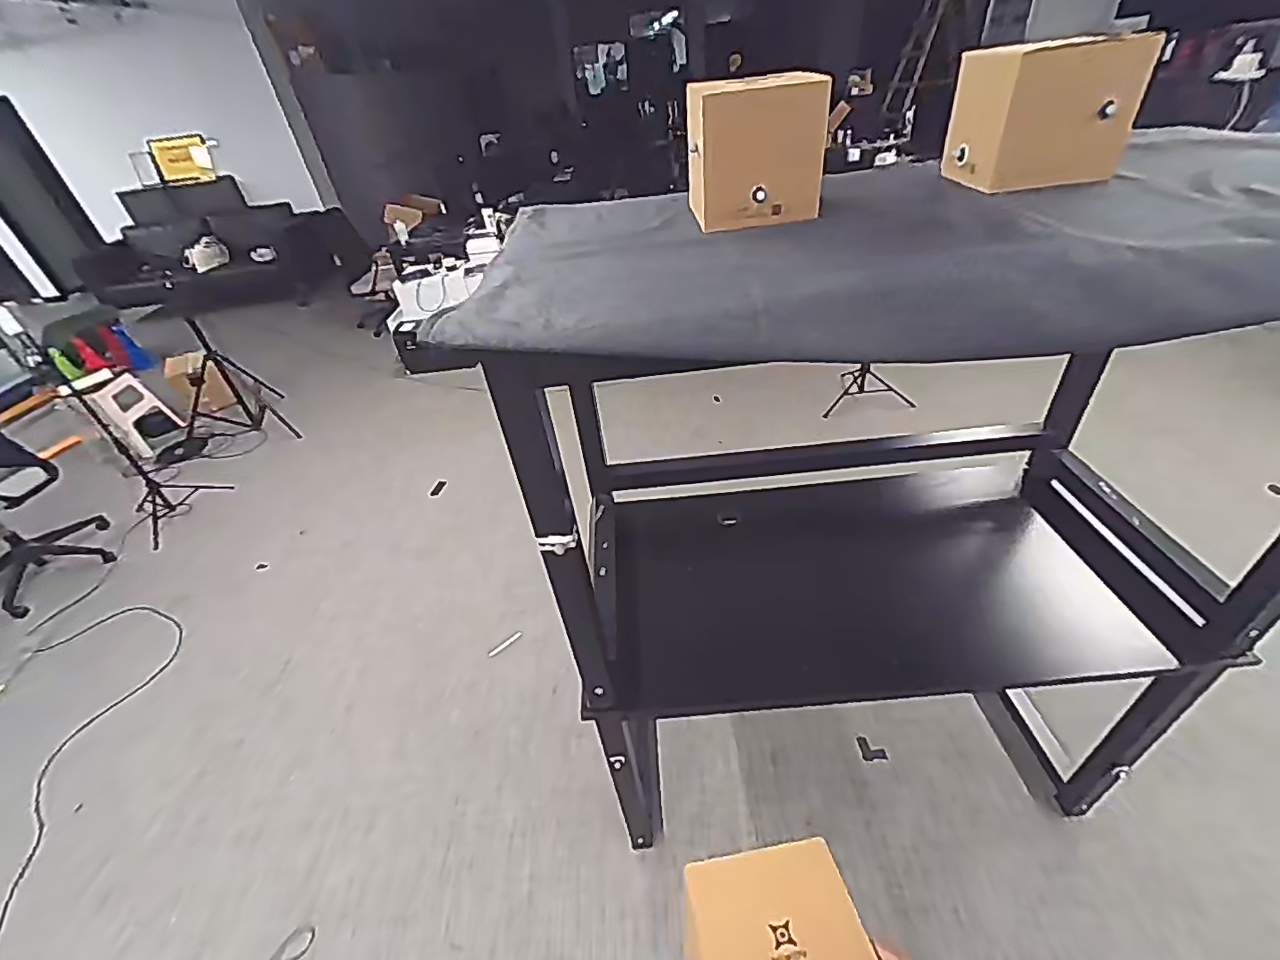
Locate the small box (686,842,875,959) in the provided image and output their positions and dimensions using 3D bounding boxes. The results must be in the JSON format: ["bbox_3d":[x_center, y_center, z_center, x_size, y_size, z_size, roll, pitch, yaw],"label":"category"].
[{"bbox_3d":[0.144,0.528,0.564,0.168,0.176,0.179,-7,26,-7],"label":"small box"}]

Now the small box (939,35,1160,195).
[{"bbox_3d":[0.574,-0.531,0.791,0.179,0.176,0.168,-5,37,3],"label":"small box"}]
